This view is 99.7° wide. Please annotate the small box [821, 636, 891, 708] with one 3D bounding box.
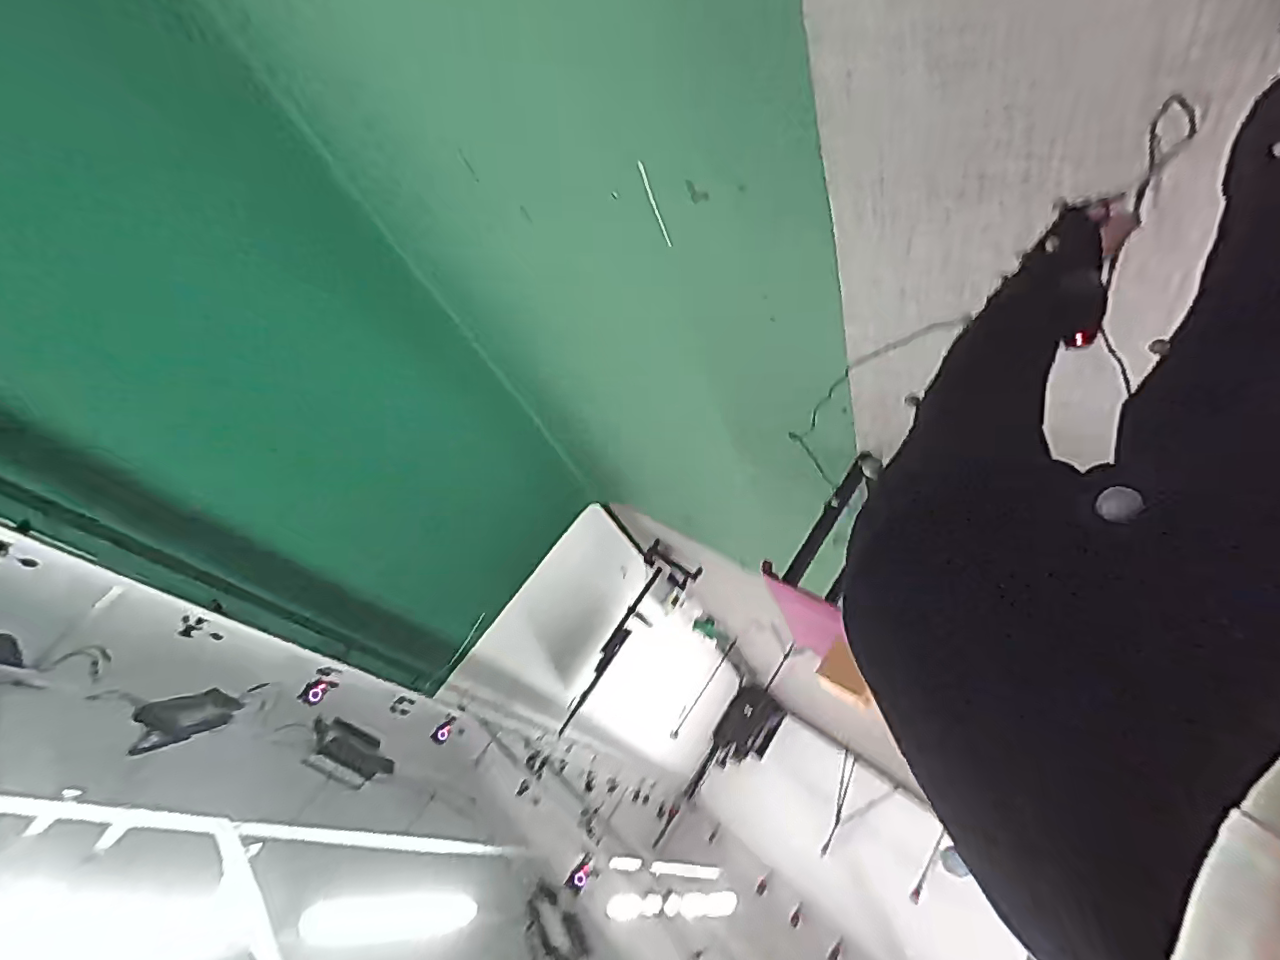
[{"bbox_3d":[0.792,0.693,1.978,0.179,0.176,0.168,25,159,40],"label":"small box"}]
